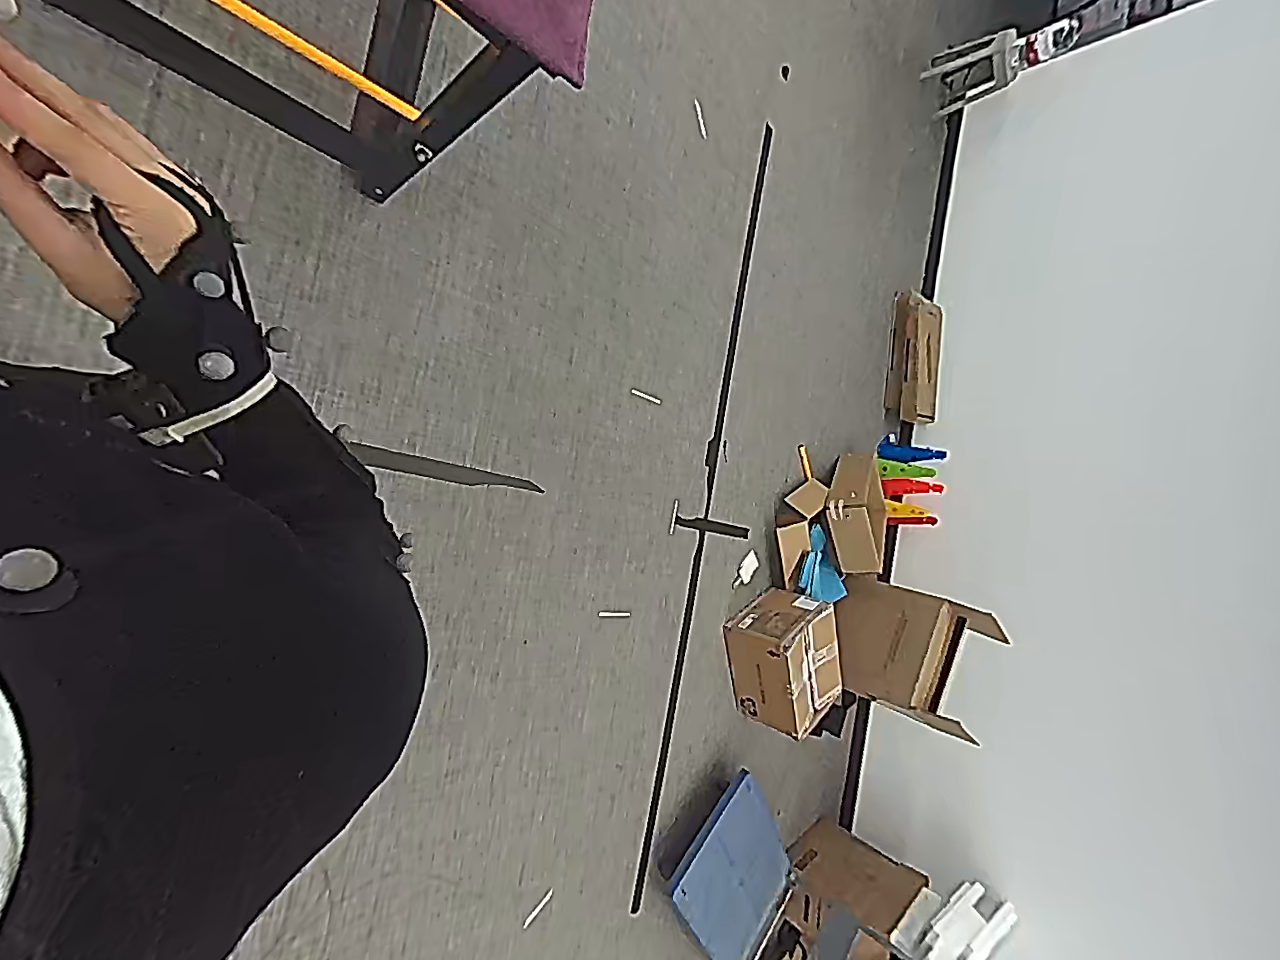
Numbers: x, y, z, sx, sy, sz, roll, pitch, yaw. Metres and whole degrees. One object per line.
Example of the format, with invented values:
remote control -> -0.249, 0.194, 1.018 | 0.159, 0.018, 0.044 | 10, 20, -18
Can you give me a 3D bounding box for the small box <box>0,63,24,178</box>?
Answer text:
small box -> -0.352, -0.215, 0.167 | 0.179, 0.176, 0.168 | -11, 101, -40
